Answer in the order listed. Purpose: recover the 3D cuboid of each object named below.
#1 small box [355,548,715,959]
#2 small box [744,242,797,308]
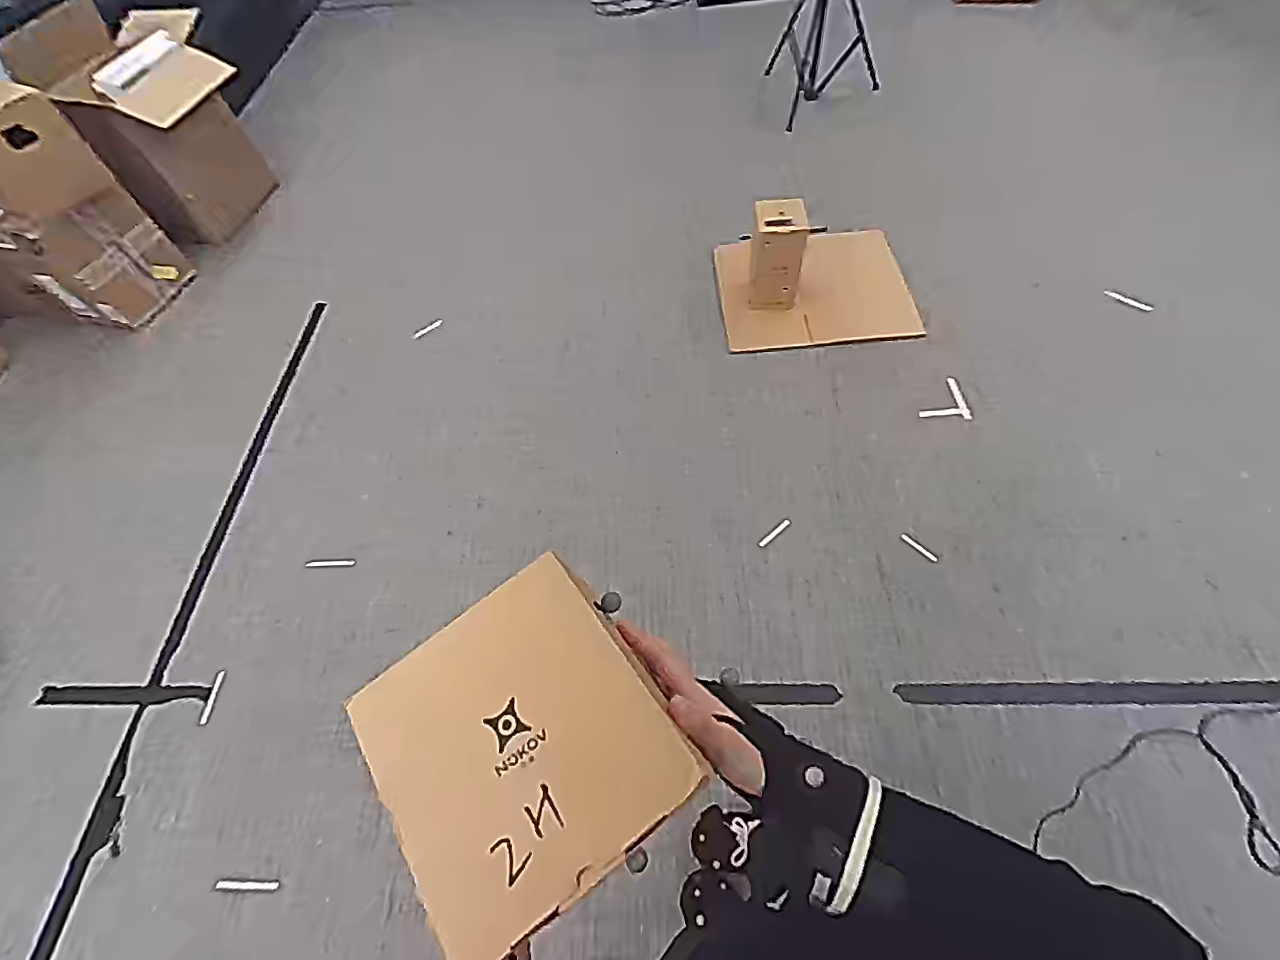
[{"bbox_3d":[-0.061,0.185,0.397,0.168,0.176,0.179,-36,64,-7],"label":"small box"},{"bbox_3d":[0.484,-0.762,2.025,0.168,0.176,0.179,0,58,4],"label":"small box"}]
